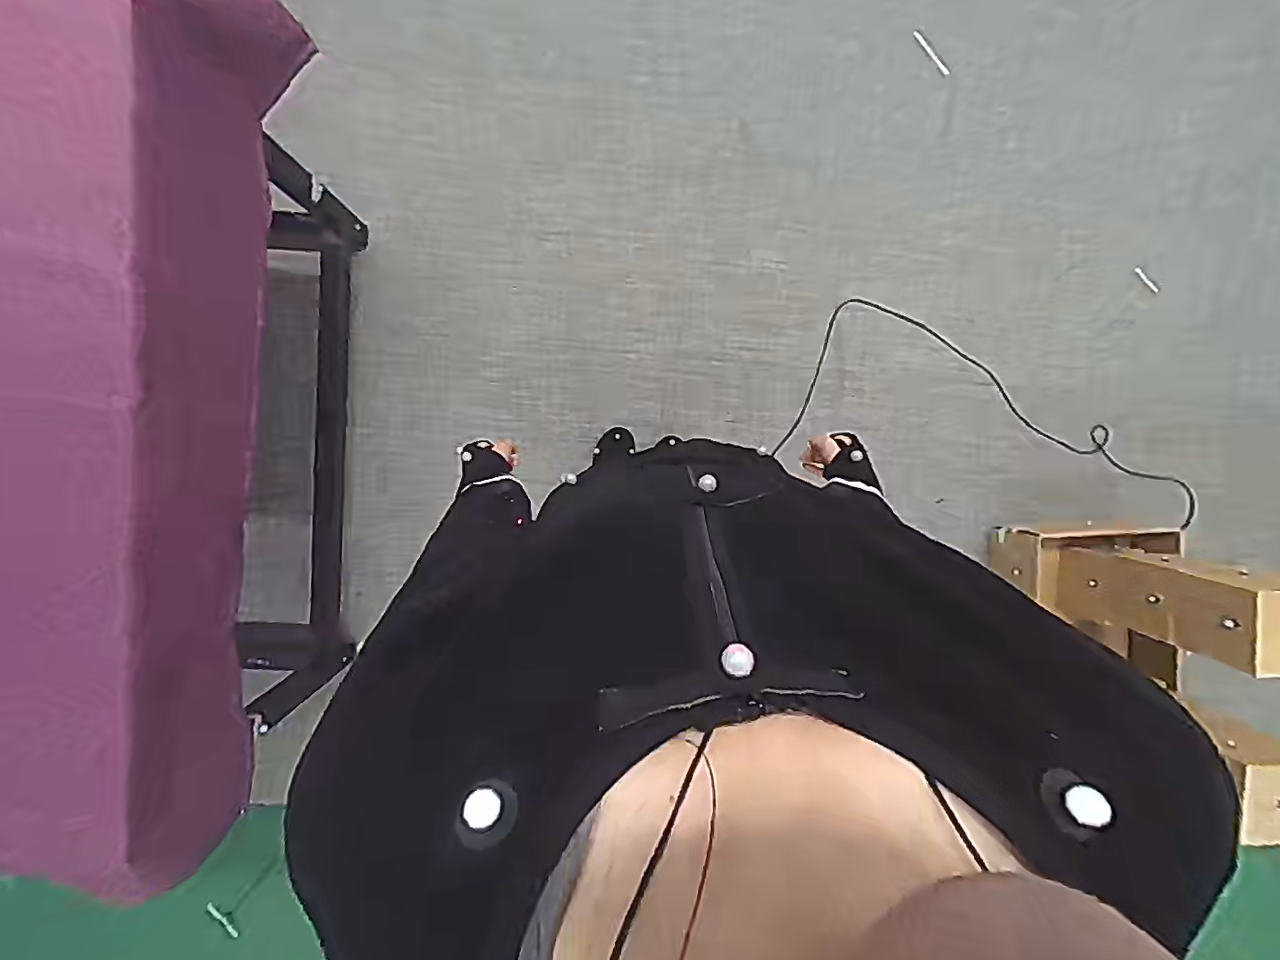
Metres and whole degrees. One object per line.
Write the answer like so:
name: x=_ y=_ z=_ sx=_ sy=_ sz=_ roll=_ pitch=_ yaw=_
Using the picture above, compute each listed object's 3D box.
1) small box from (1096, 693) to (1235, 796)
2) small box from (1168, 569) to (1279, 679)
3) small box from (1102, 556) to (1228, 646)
small box: x=1.258 y=0.632 z=1.308 sx=0.179 sy=0.176 sz=0.168 roll=1 pitch=94 yaw=-3
small box: x=1.260 y=0.293 z=1.128 sx=0.168 sy=0.176 sz=0.179 roll=-3 pitch=93 yaw=0
small box: x=1.255 y=0.283 z=1.290 sx=0.168 sy=0.176 sz=0.179 roll=2 pitch=94 yaw=-1
